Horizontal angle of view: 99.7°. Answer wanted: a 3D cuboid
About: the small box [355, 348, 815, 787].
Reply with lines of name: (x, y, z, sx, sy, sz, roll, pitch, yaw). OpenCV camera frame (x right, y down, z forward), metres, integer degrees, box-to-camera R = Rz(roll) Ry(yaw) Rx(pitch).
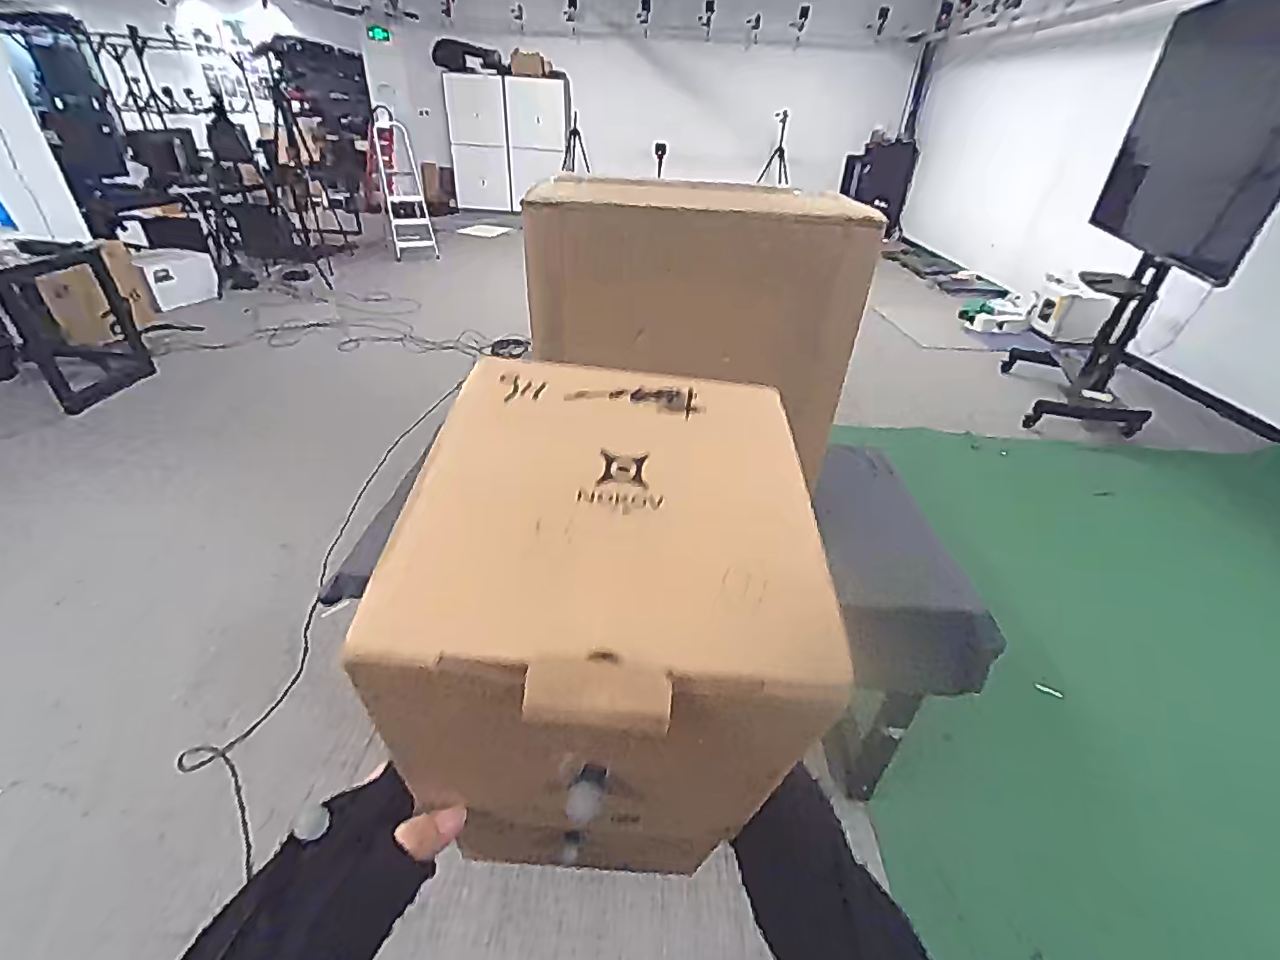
small box: (-0.020, 0.051, 0.301, 0.168, 0.176, 0.179, 6, 45, -2)
